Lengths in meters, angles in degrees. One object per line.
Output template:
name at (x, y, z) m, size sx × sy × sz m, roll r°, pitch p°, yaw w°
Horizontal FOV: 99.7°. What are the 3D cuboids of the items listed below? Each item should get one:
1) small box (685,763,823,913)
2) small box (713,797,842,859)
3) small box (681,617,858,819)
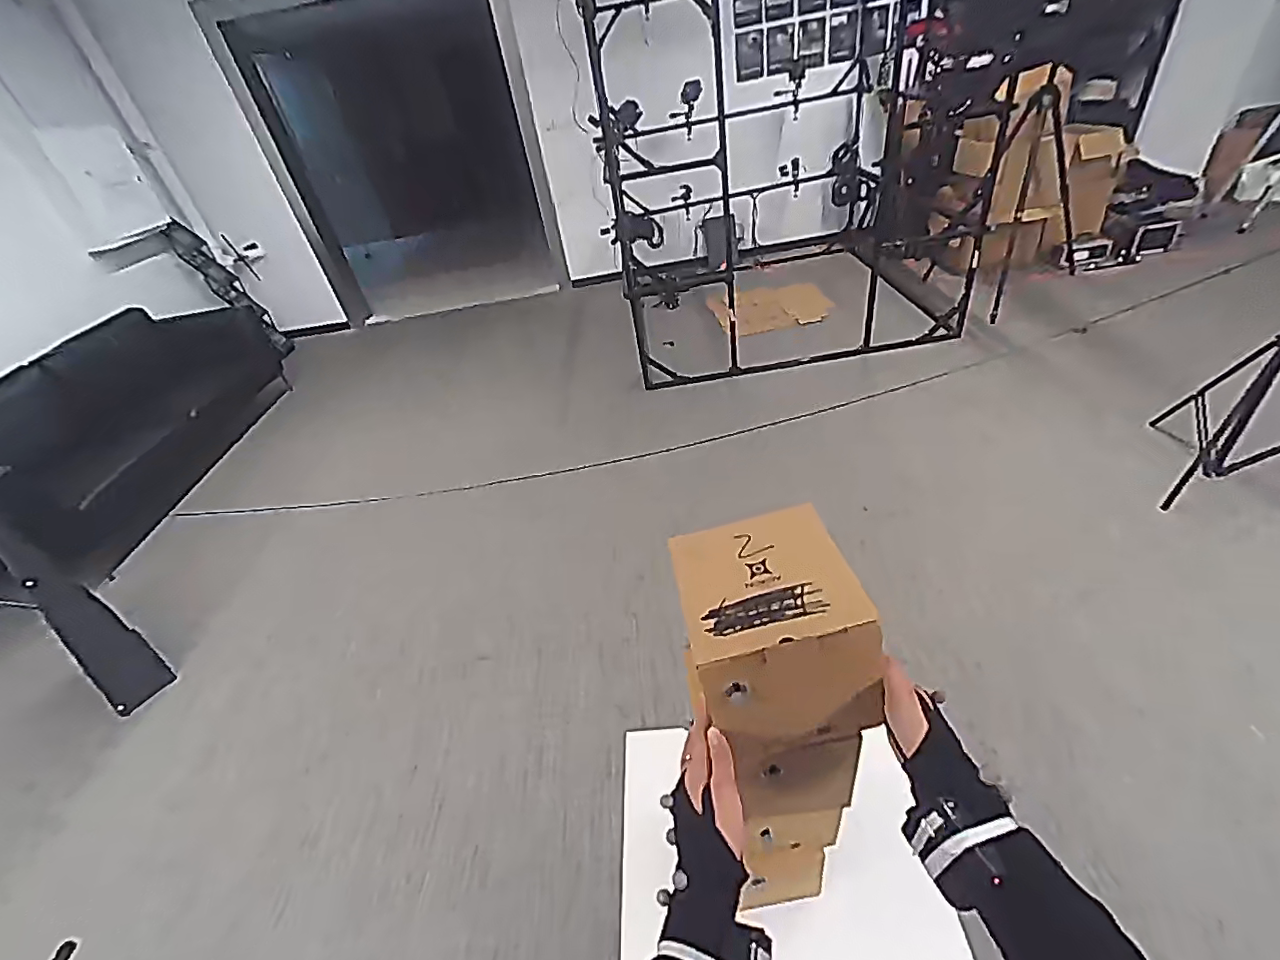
small box at (0.180, 0.566, 0.875) m, size 0.179 × 0.176 × 0.168 m, roll -11°, pitch 37°, yaw -1°
small box at (0.180, 0.424, 0.790) m, size 0.168 × 0.176 × 0.179 m, roll -10°, pitch 36°, yaw 0°
small box at (0.154, 0.301, 0.682) m, size 0.179 × 0.176 × 0.168 m, roll -9°, pitch 37°, yaw 2°
